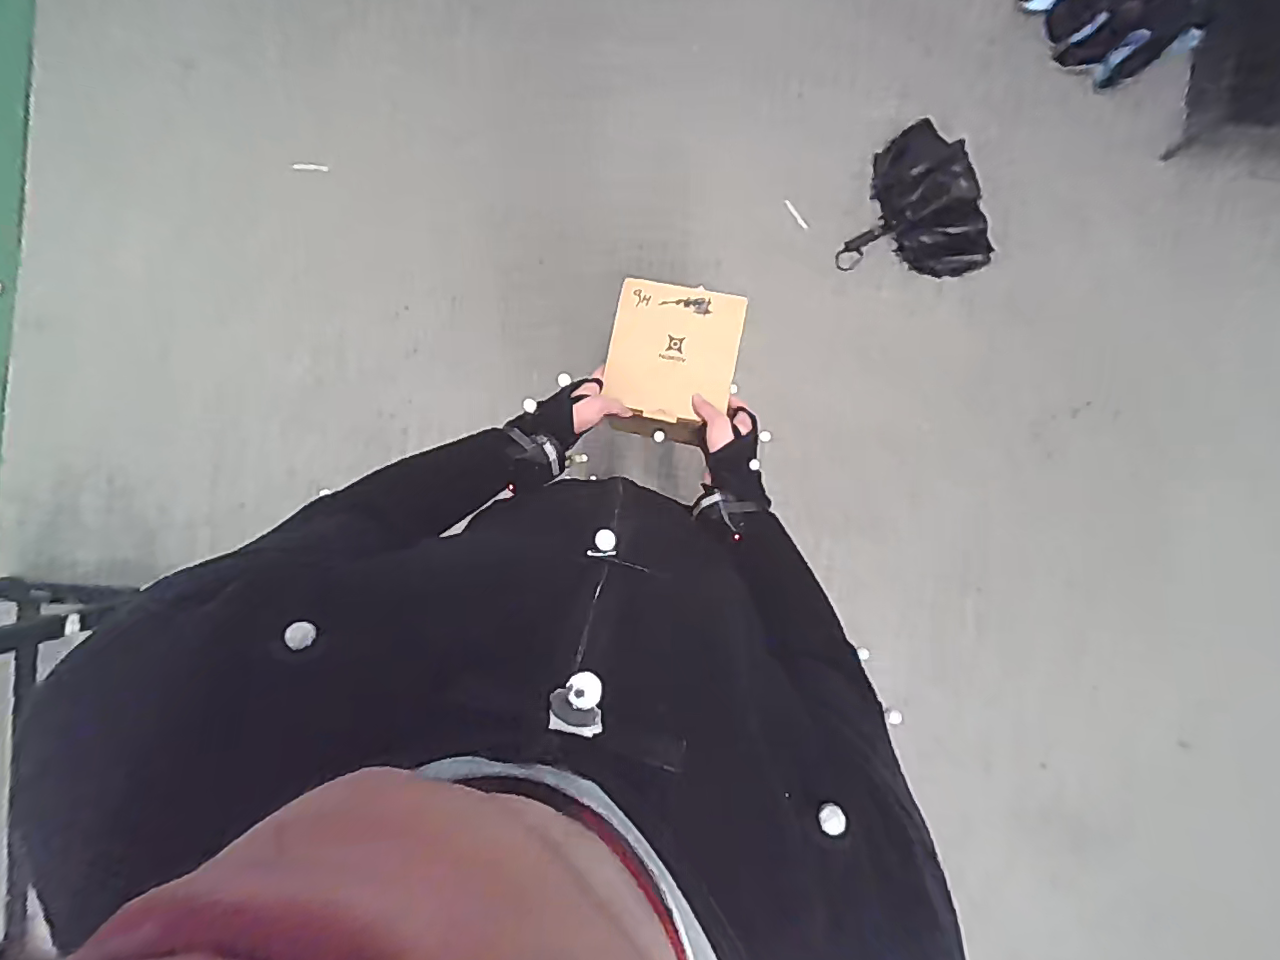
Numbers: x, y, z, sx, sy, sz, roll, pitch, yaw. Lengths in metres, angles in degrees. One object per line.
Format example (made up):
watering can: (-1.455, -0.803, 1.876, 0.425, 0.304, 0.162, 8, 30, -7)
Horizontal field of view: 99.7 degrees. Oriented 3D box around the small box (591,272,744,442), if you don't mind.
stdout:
small box: (0.039, -0.158, 0.755, 0.168, 0.176, 0.179, 11, 86, 4)
